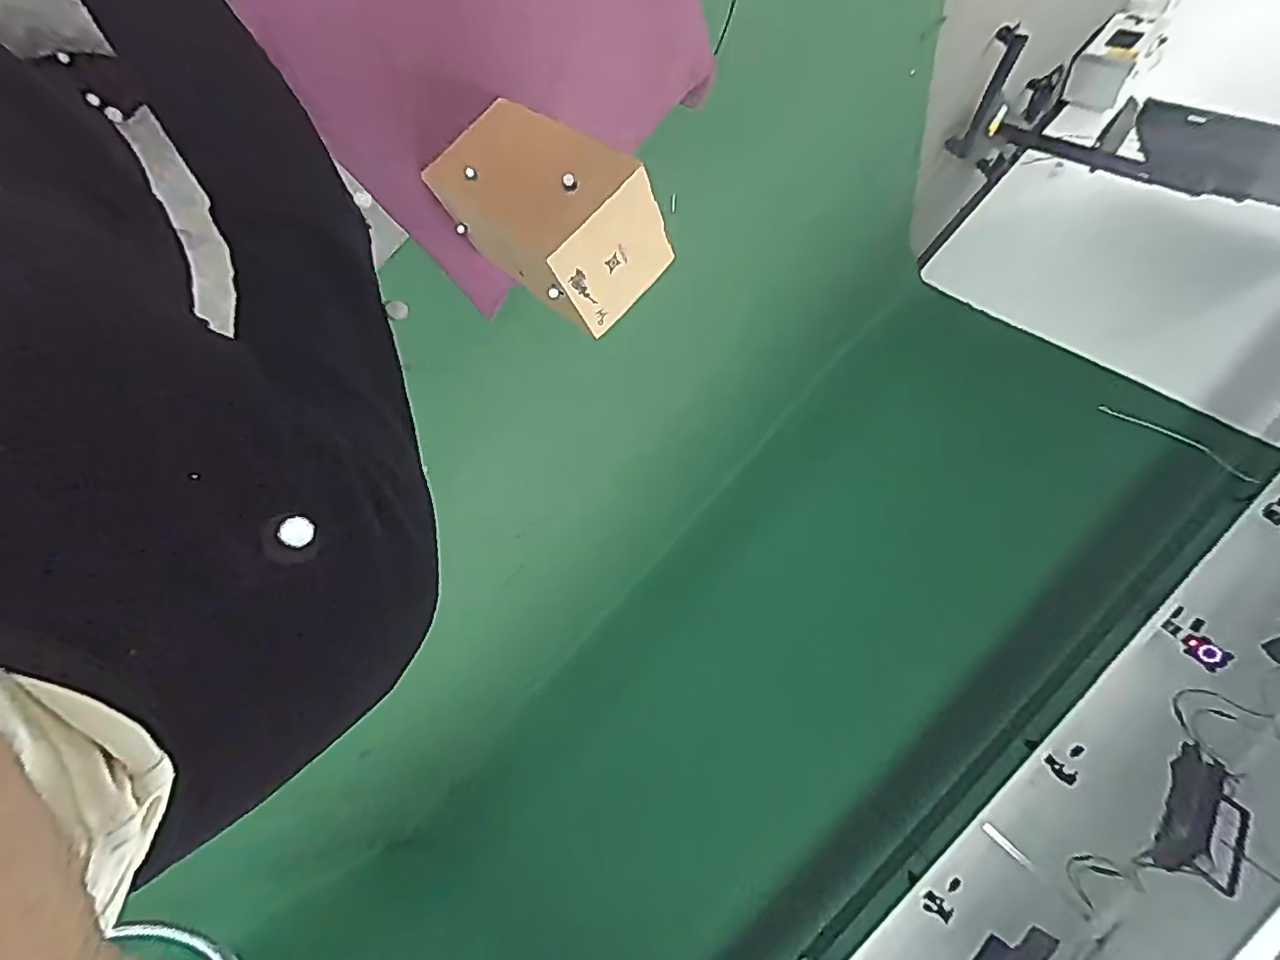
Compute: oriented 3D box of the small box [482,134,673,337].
[{"bbox_3d":[-0.086,-0.348,0.768,0.179,0.176,0.168,-47,151,-4],"label":"small box"}]
